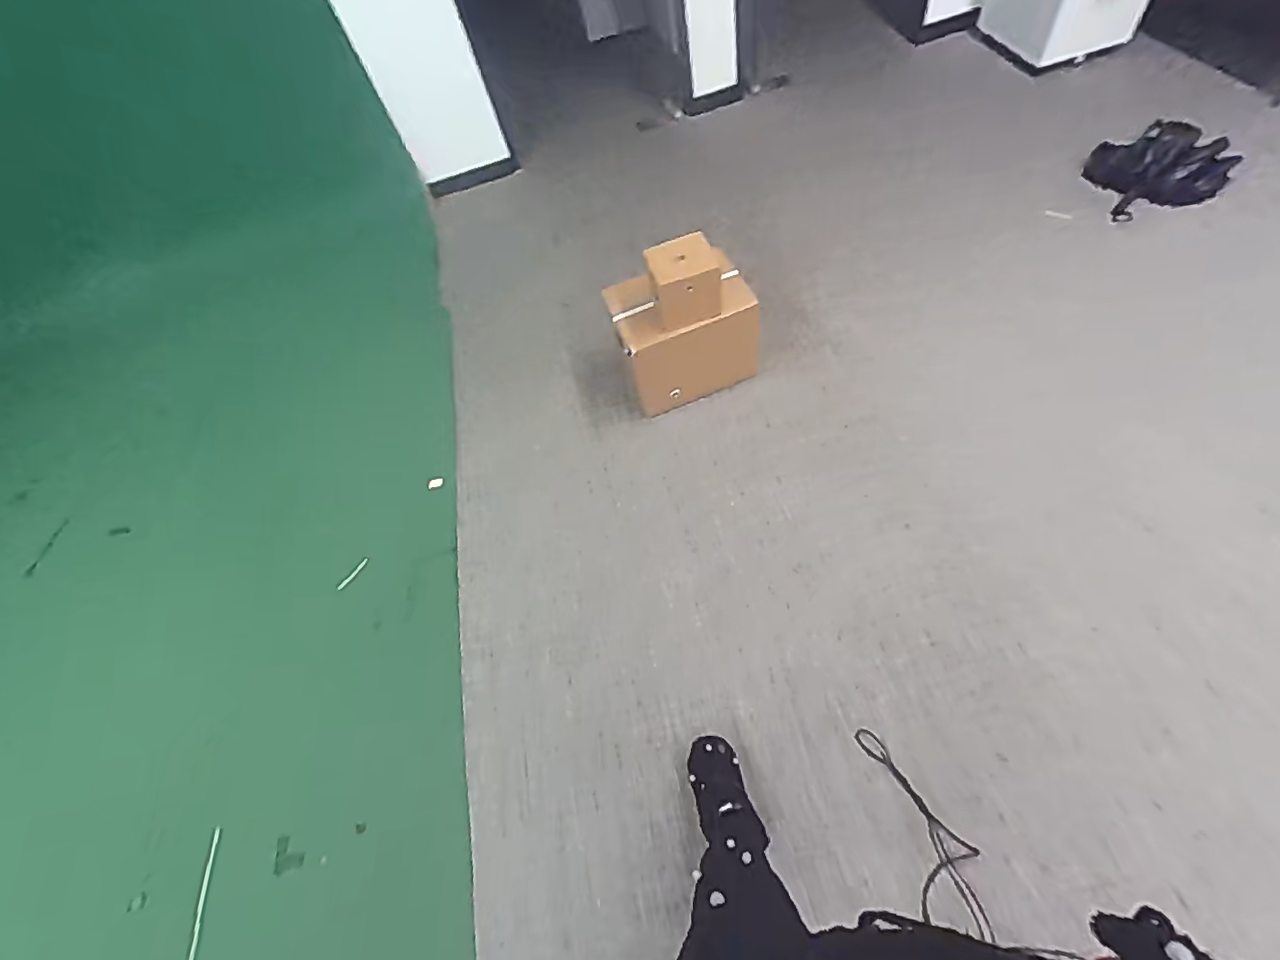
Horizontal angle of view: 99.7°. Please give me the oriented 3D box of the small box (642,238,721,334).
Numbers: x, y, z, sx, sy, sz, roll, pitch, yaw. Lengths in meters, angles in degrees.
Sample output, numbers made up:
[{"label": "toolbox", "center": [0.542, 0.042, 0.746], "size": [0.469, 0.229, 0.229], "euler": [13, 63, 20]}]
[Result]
[{"label": "small box", "center": [0.122, -0.544, 1.531], "size": [0.179, 0.176, 0.168], "euler": [-18, 58, -1]}]
